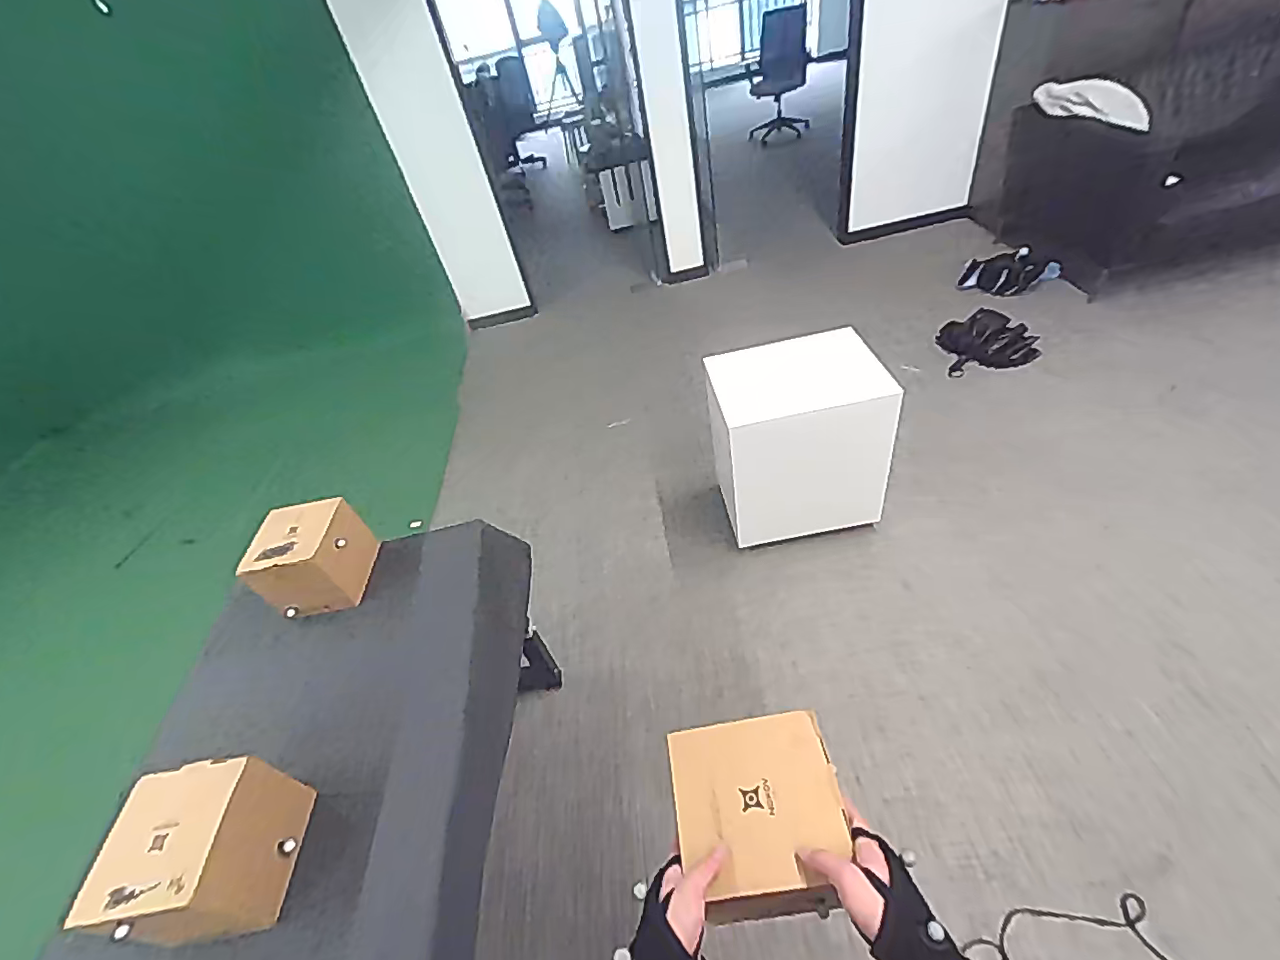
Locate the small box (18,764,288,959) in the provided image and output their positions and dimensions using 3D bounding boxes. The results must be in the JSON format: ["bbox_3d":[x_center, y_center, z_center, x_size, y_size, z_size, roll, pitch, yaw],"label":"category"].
[{"bbox_3d":[-0.608,0.510,0.712,0.168,0.176,0.179,-11,41,0],"label":"small box"}]

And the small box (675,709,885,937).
[{"bbox_3d":[0.148,0.387,0.608,0.179,0.176,0.168,-14,42,3],"label":"small box"}]

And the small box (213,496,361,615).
[{"bbox_3d":[-0.707,0.162,1.112,0.168,0.176,0.179,-9,41,1],"label":"small box"}]
